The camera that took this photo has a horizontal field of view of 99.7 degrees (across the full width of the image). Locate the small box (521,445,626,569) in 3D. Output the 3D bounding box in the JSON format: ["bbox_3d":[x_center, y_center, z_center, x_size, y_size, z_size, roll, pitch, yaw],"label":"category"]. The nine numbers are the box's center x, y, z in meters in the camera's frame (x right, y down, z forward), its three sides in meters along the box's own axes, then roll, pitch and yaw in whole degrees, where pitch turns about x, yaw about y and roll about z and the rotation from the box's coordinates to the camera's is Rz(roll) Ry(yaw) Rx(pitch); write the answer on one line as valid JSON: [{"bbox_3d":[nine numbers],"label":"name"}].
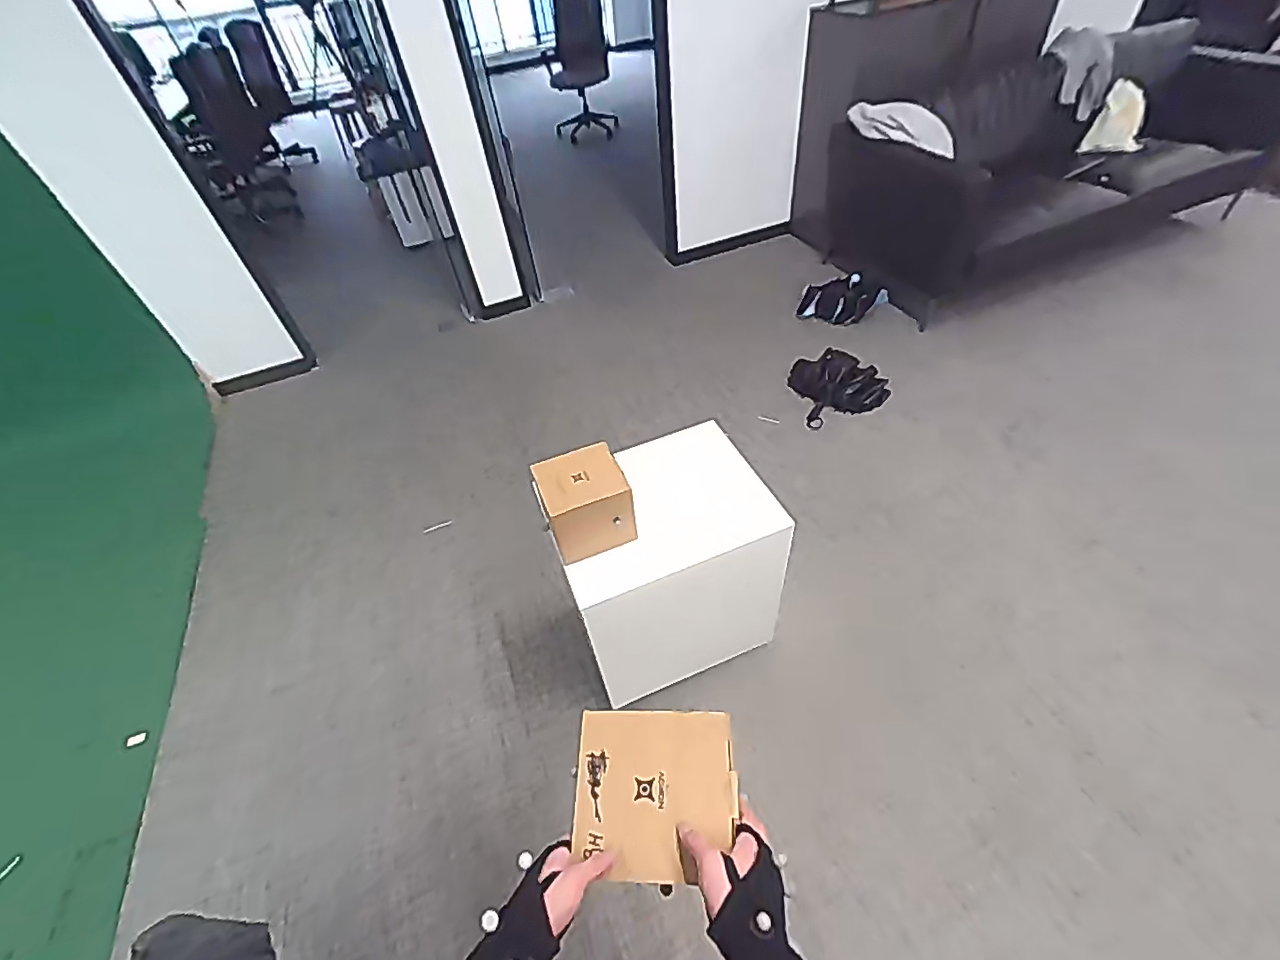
[{"bbox_3d":[-0.137,0.059,1.160,0.179,0.176,0.168,-20,47,-15],"label":"small box"}]

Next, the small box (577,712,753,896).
[{"bbox_3d":[0.033,0.379,0.640,0.179,0.176,0.168,-2,55,6],"label":"small box"}]
